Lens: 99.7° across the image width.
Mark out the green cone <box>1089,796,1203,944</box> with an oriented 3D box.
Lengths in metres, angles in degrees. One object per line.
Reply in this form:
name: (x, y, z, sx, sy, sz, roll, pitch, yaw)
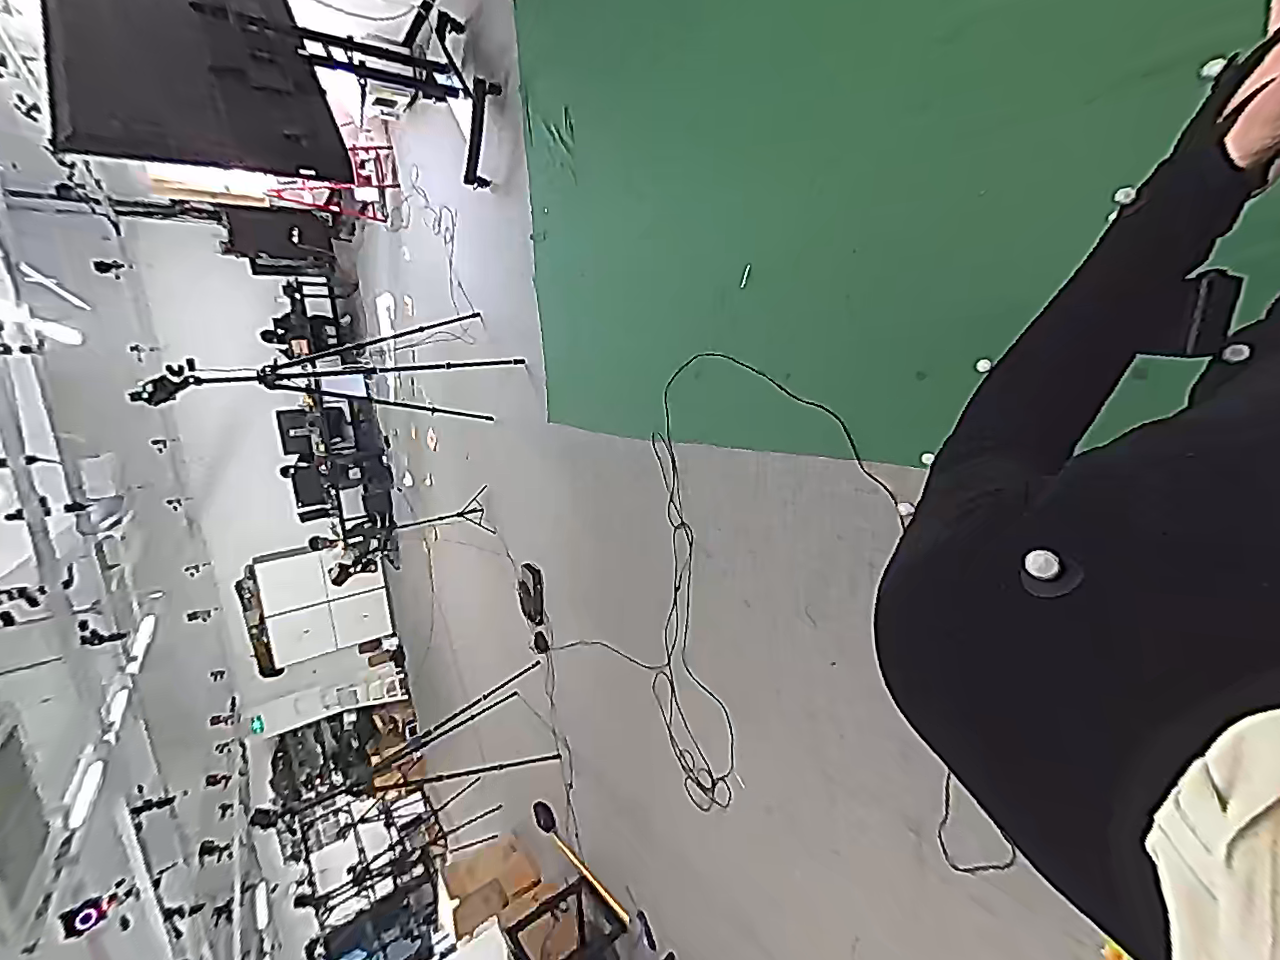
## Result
green cone: (1.169, 0.978, 1.299, 0.202, 0.368, 0.200, 12, 110, 52)
